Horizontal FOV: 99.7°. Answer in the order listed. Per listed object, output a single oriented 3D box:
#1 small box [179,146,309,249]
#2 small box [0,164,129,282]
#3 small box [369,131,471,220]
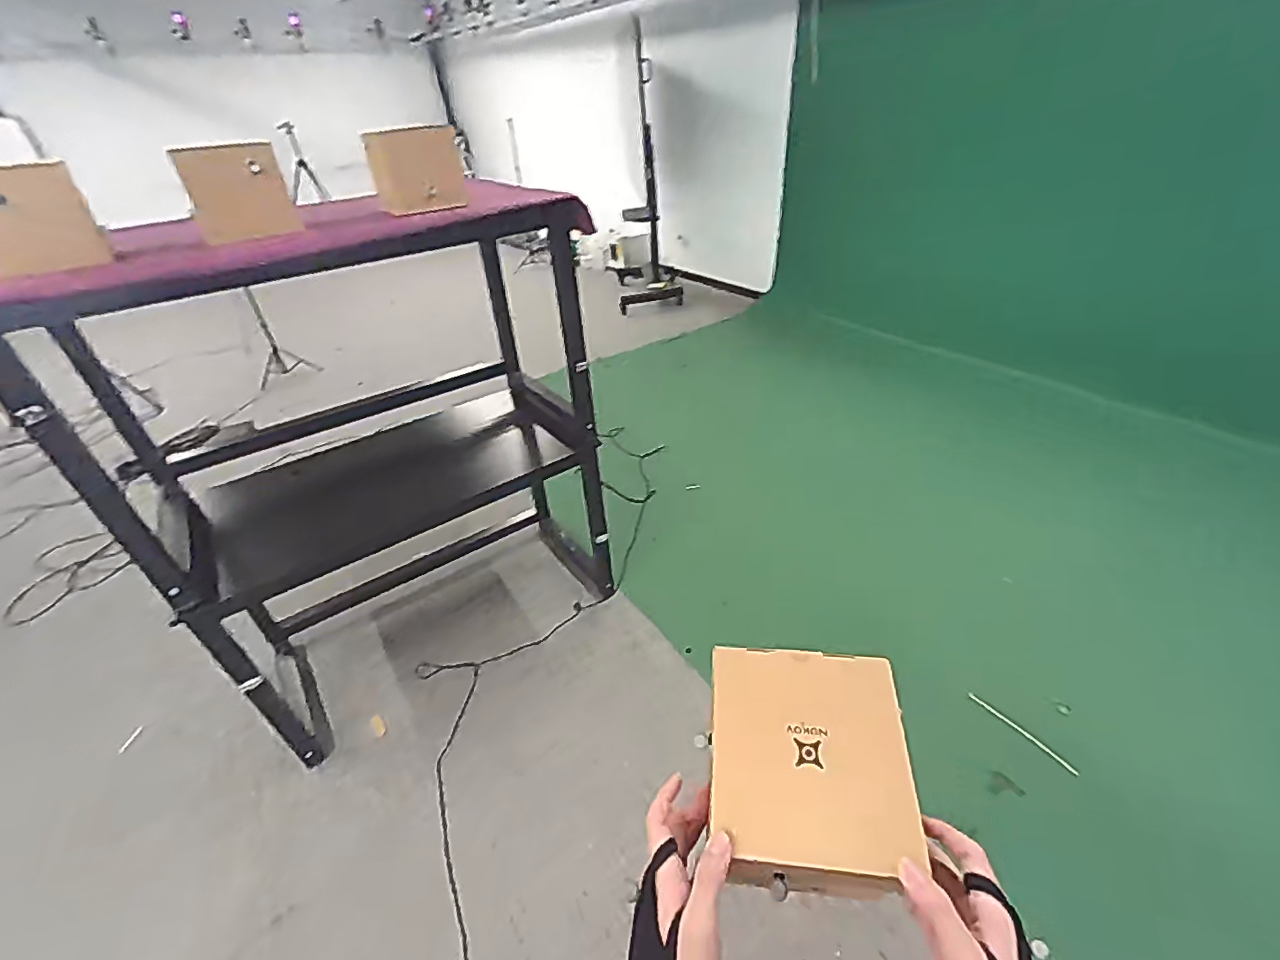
[{"bbox_3d":[-0.829,-0.601,1.145,0.179,0.176,0.168,-25,39,-26],"label":"small box"},{"bbox_3d":[-1.090,-0.471,0.986,0.179,0.176,0.168,-26,41,-30],"label":"small box"},{"bbox_3d":[-0.525,-0.740,1.310,0.179,0.176,0.168,-25,38,-27],"label":"small box"}]
